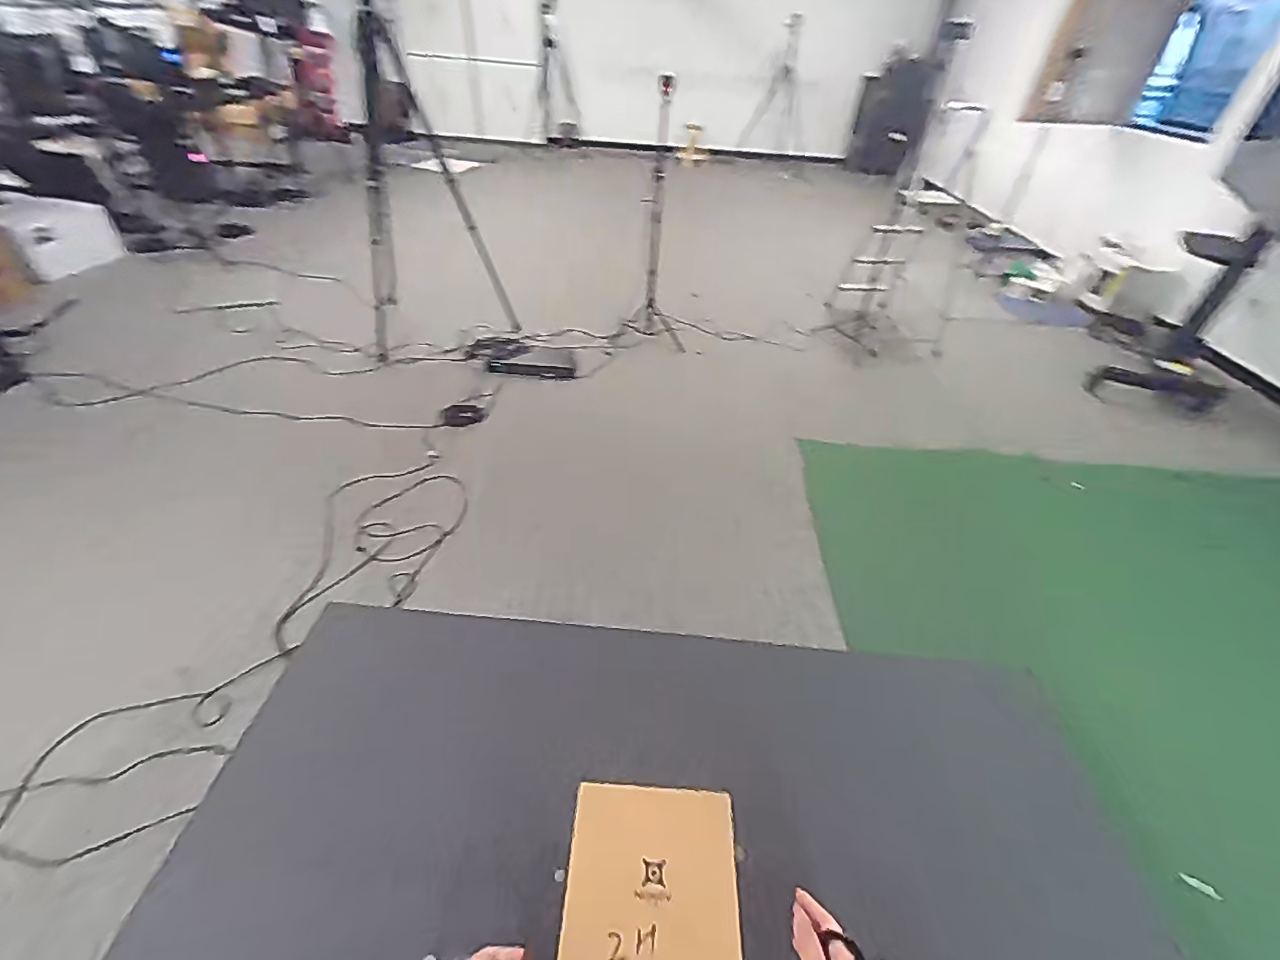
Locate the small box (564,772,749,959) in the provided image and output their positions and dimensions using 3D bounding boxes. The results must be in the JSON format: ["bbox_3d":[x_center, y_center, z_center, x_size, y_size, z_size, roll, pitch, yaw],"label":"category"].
[{"bbox_3d":[0.014,0.441,0.573,0.168,0.176,0.179,4,40,1],"label":"small box"}]
